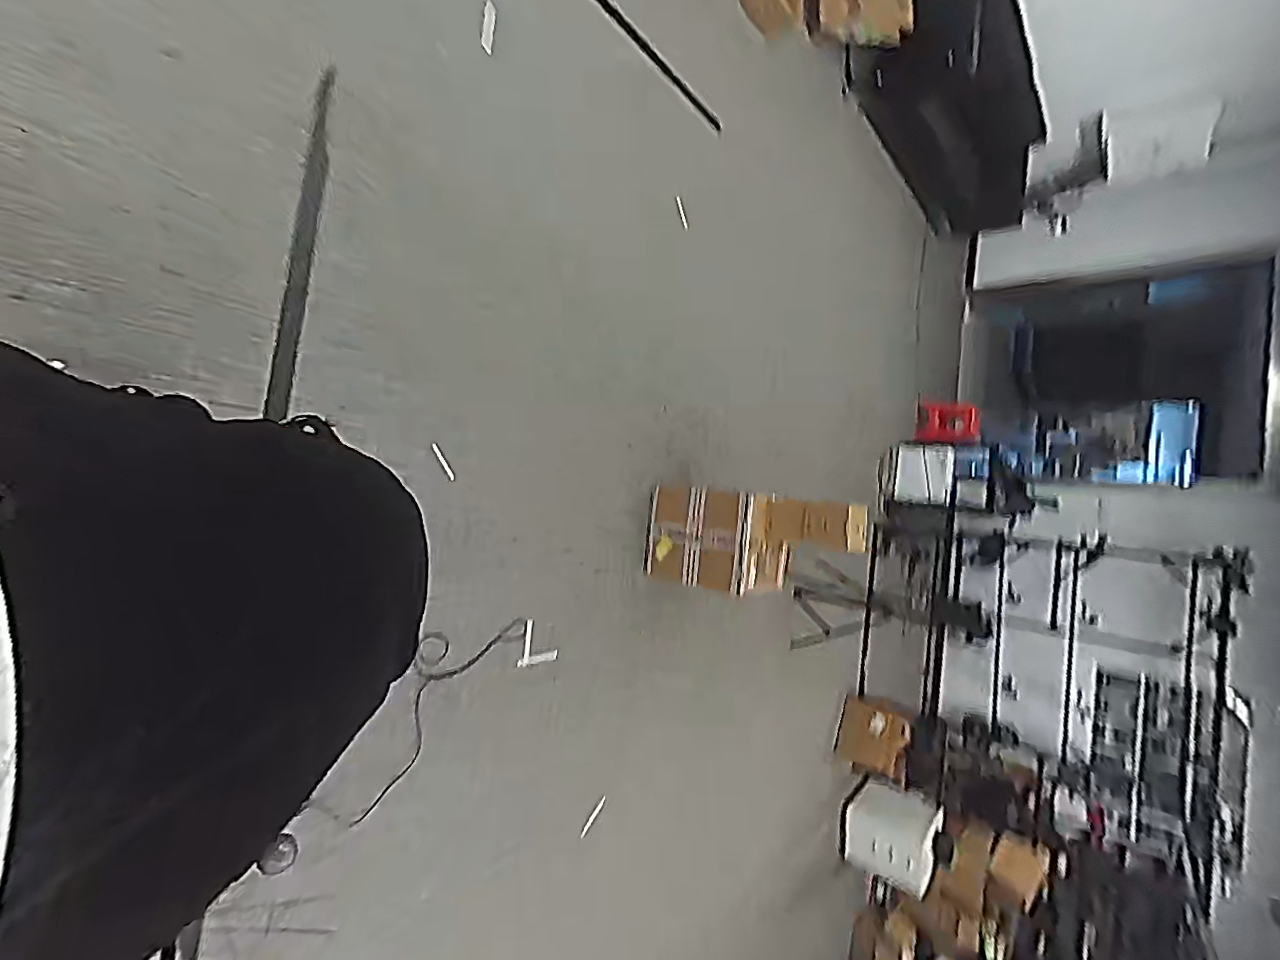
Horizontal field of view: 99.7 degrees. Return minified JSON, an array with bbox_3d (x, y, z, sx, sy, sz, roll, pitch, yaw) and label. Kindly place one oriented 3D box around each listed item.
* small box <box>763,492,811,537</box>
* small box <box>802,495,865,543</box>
[{"bbox_3d":[0.609,0.135,2.143,0.179,0.176,0.168,7,87,-46],"label":"small box"},{"bbox_3d":[0.721,0.145,2.023,0.179,0.176,0.168,9,86,-45],"label":"small box"}]
